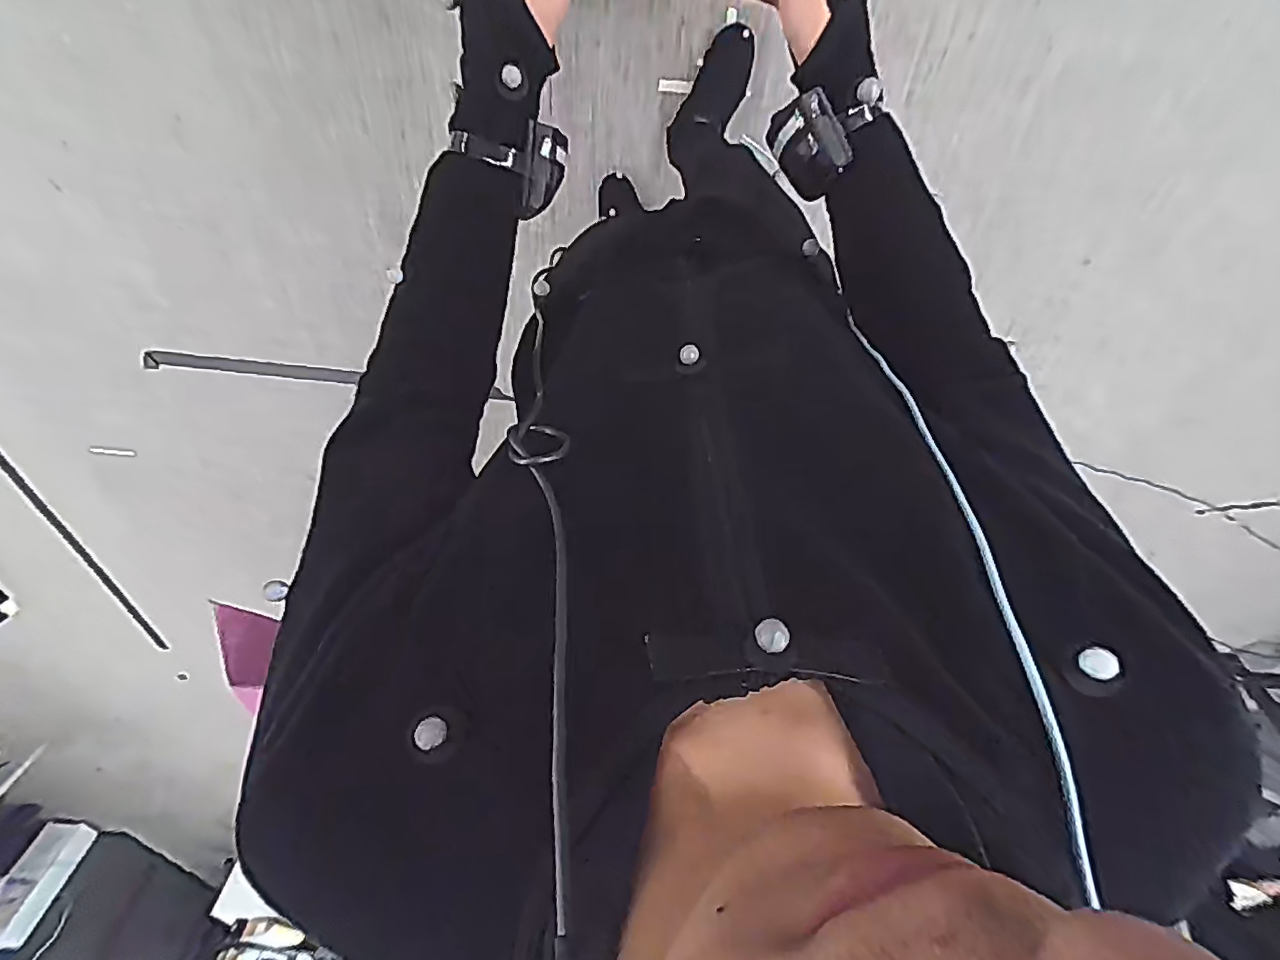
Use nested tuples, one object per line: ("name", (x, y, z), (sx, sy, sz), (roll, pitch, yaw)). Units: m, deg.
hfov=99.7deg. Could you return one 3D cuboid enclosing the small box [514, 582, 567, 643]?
("small box", (-0.394, 0.526, 2.157), (0.179, 0.176, 0.168), (4, 130, -1))
